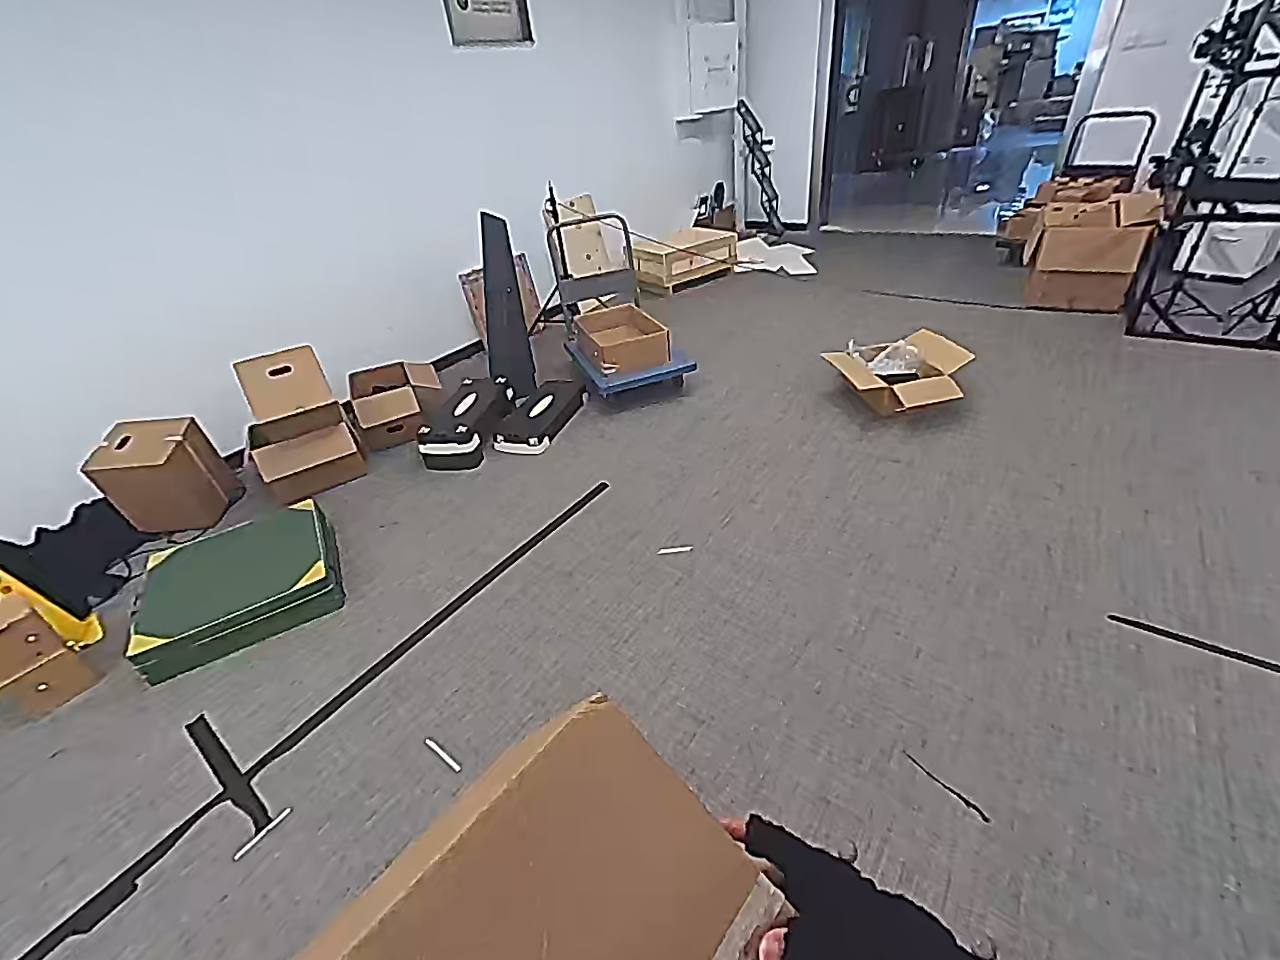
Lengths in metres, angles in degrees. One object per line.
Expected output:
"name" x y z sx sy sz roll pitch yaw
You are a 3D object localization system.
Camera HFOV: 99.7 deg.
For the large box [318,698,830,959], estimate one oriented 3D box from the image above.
"large box" -0.102 0.426 0.343 0.320 0.320 0.408 46 54 8
